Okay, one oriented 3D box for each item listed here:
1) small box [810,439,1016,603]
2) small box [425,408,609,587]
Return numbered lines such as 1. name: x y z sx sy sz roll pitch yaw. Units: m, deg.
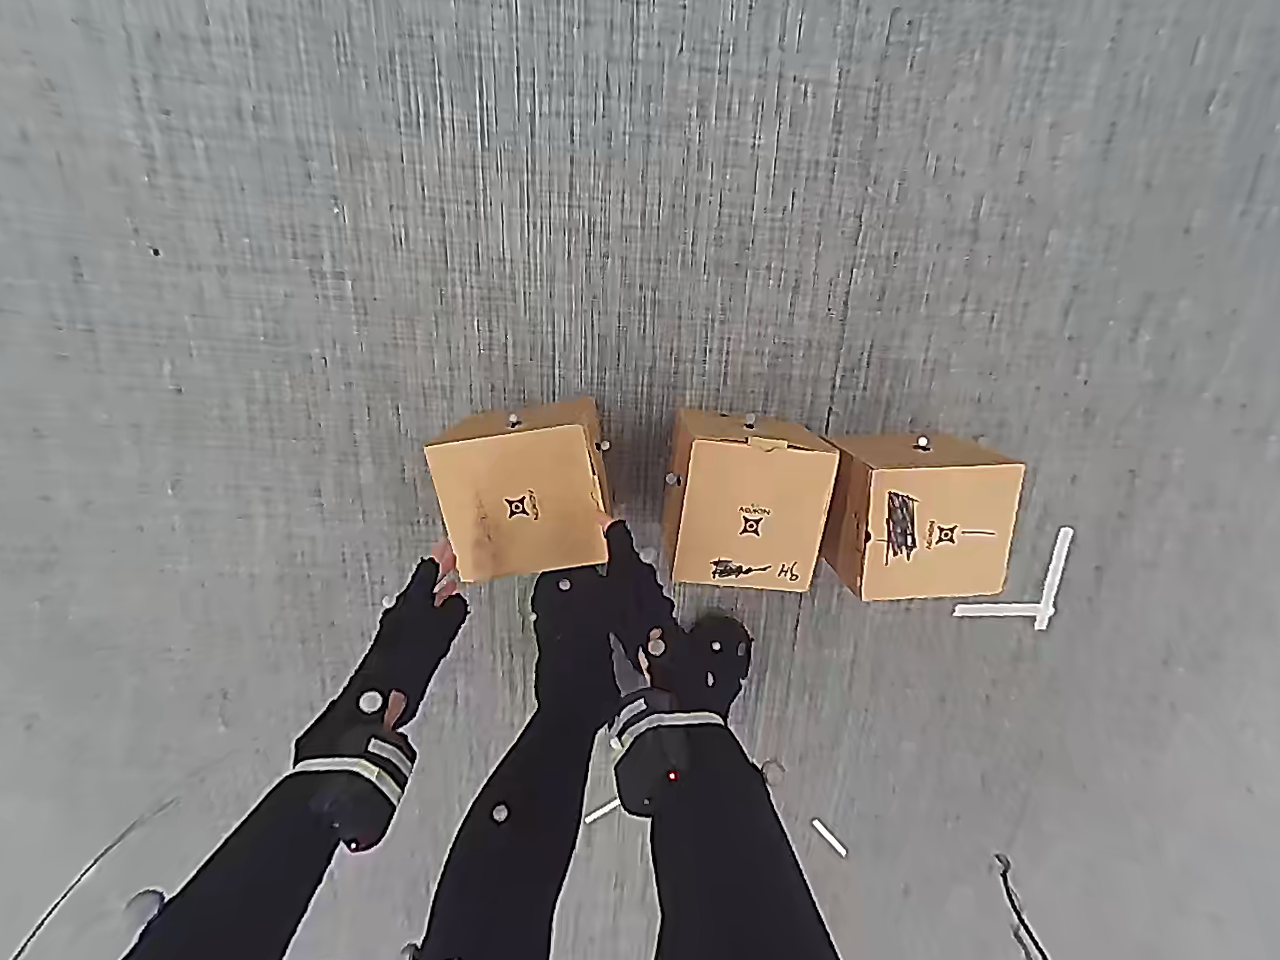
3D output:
1. small box: 0.334 0.045 0.702 0.179 0.176 0.168 -2 107 -2
2. small box: -0.136 0.011 0.676 0.179 0.176 0.168 -9 106 2
